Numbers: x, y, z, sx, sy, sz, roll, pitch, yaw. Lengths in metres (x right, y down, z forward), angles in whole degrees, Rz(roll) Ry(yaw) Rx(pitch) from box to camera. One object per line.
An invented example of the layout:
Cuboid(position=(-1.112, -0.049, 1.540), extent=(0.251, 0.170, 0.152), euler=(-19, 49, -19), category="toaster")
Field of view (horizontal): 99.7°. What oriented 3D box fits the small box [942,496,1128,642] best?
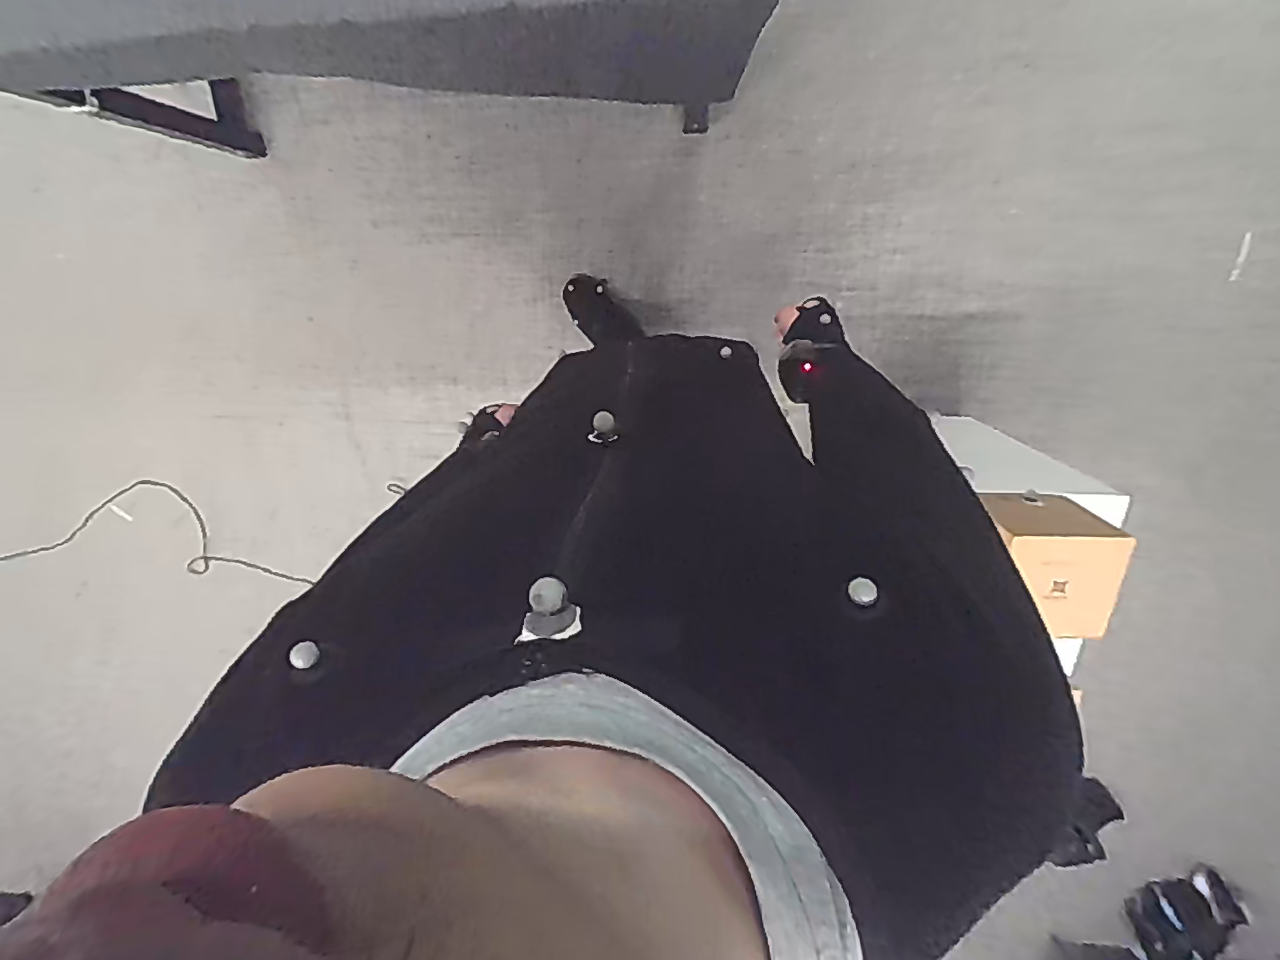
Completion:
Cuboid(position=(0.613, 0.138, 0.869), extent=(0.168, 0.176, 0.179), euler=(-1, 109, 3), category="small box")
